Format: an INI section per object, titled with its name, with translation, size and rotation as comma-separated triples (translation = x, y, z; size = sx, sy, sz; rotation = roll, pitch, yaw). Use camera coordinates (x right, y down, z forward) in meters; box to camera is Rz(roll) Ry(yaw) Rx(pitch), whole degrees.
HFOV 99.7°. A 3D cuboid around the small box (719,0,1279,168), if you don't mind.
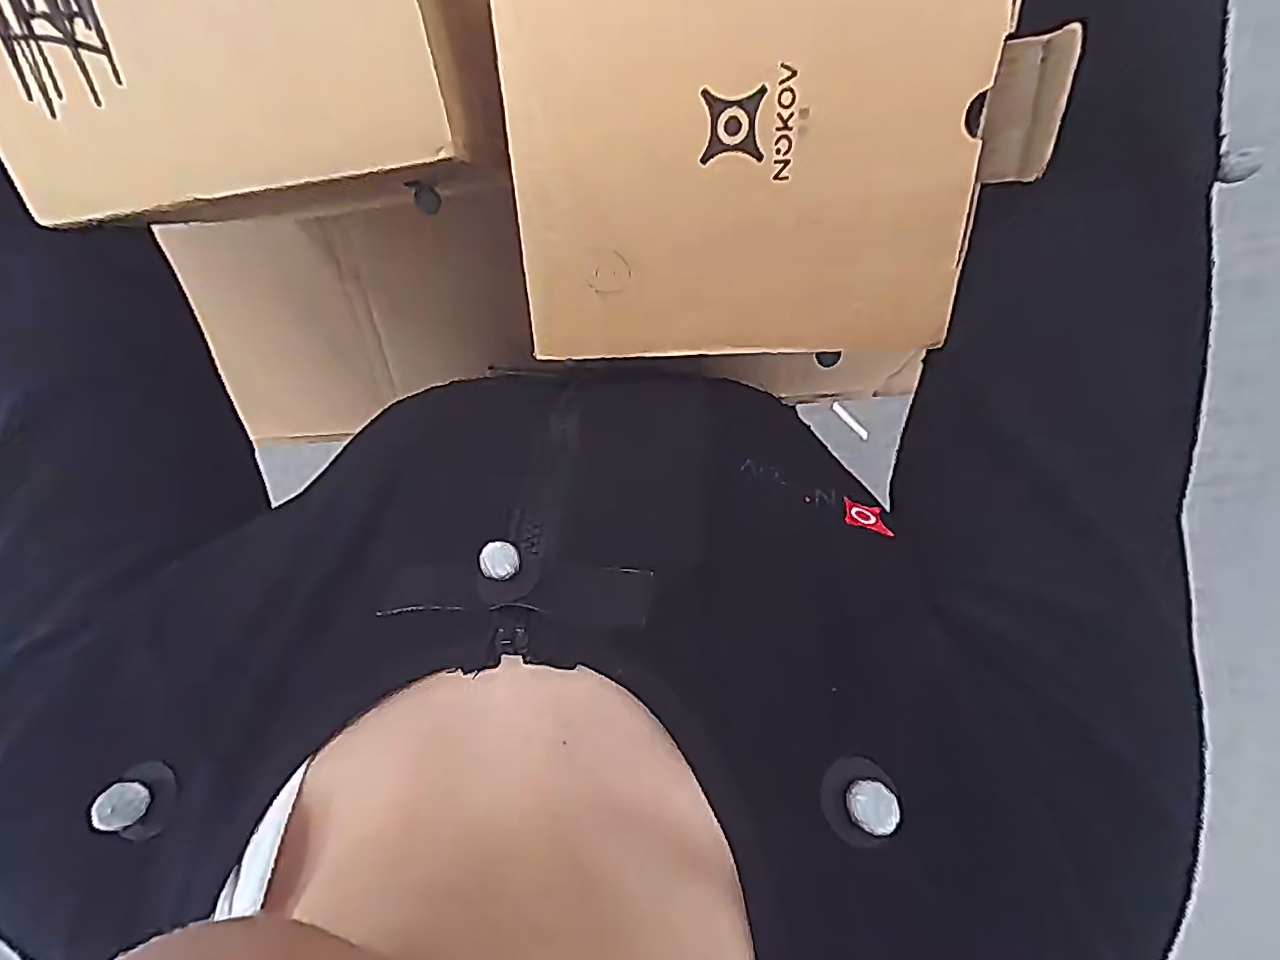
[small box]
translation = 0.137, -0.234, 0.212
size = 0.179, 0.176, 0.168
rotation = 10, 123, -3
